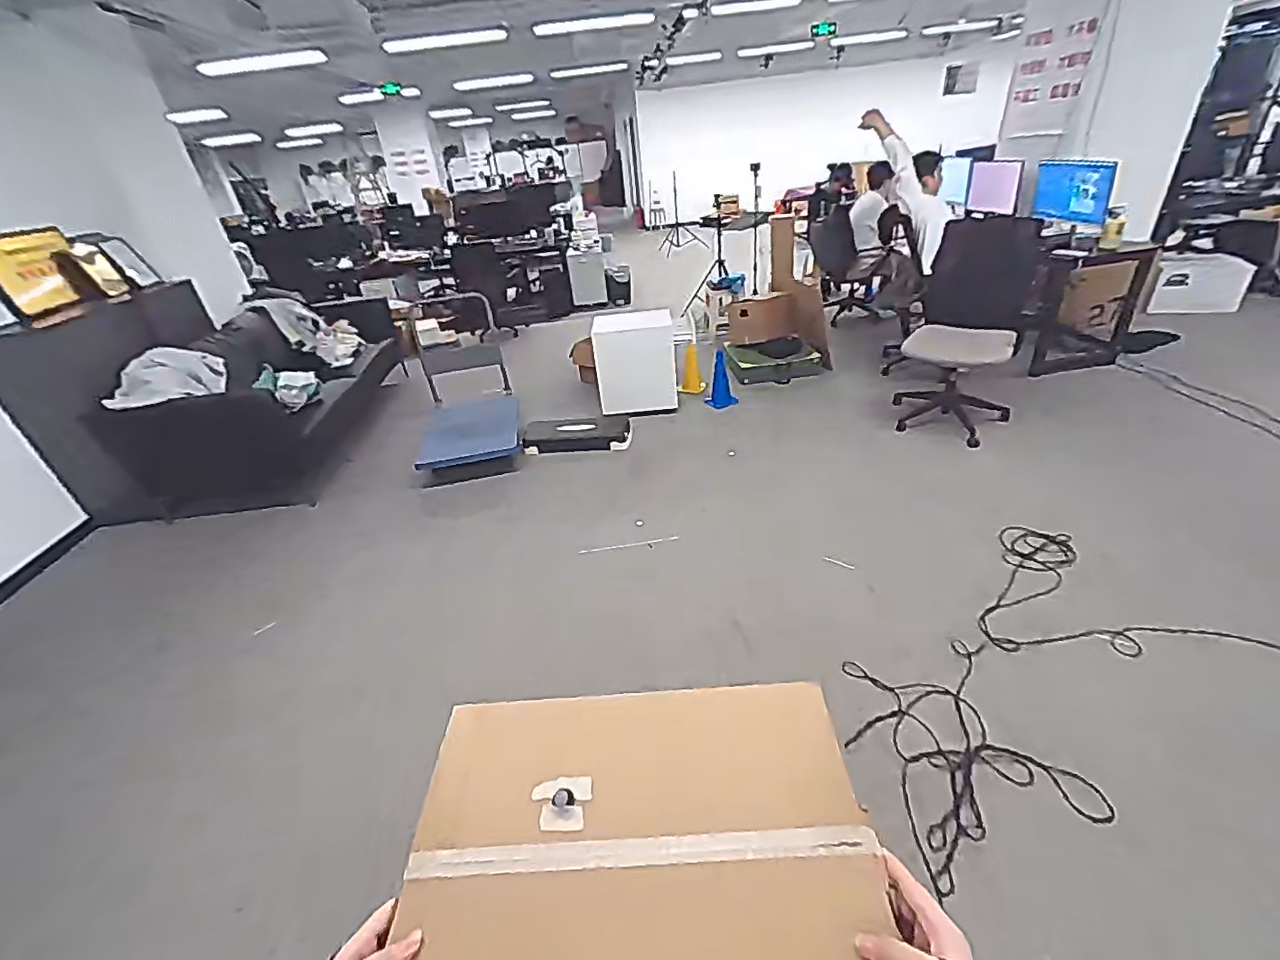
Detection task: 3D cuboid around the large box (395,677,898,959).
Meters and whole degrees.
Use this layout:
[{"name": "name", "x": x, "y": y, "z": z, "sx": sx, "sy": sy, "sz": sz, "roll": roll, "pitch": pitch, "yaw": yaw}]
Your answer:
[{"name": "large box", "x": 0.015, "y": 0.448, "z": 0.572, "sx": 0.408, "sy": 0.320, "sz": 0.320, "roll": -7, "pitch": 36, "yaw": 4}]
